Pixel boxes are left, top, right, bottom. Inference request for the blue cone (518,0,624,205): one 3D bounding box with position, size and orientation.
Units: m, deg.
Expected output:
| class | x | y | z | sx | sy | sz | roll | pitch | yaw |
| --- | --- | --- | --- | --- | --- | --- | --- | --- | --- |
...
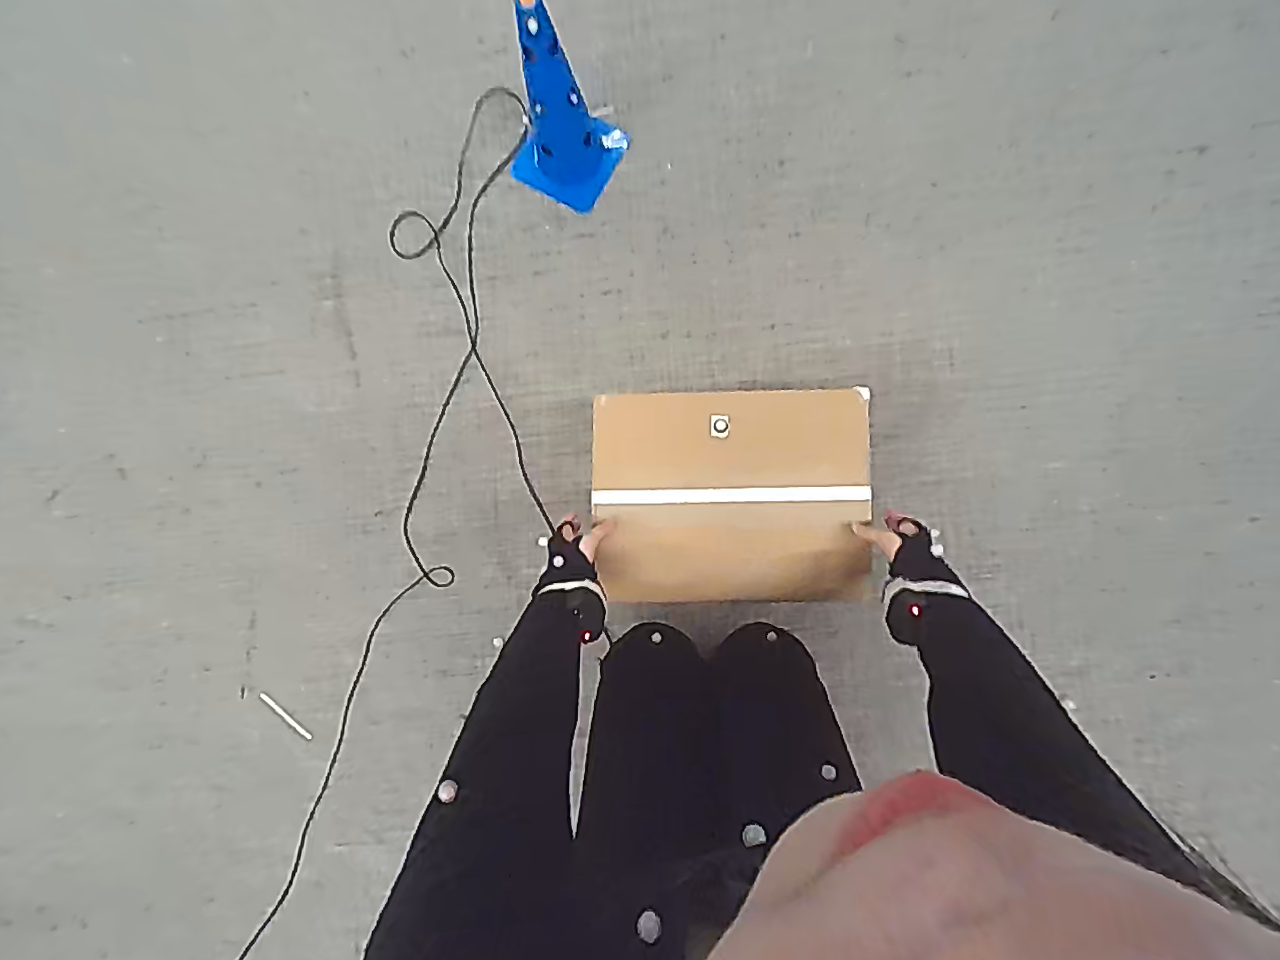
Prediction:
| class | x | y | z | sx | sy | sz | roll | pitch | yaw |
| --- | --- | --- | --- | --- | --- | --- | --- | --- | --- |
| blue cone | -0.153 | -0.701 | 0.973 | 0.192 | 0.380 | 0.193 | 27 | 87 | 4 |
